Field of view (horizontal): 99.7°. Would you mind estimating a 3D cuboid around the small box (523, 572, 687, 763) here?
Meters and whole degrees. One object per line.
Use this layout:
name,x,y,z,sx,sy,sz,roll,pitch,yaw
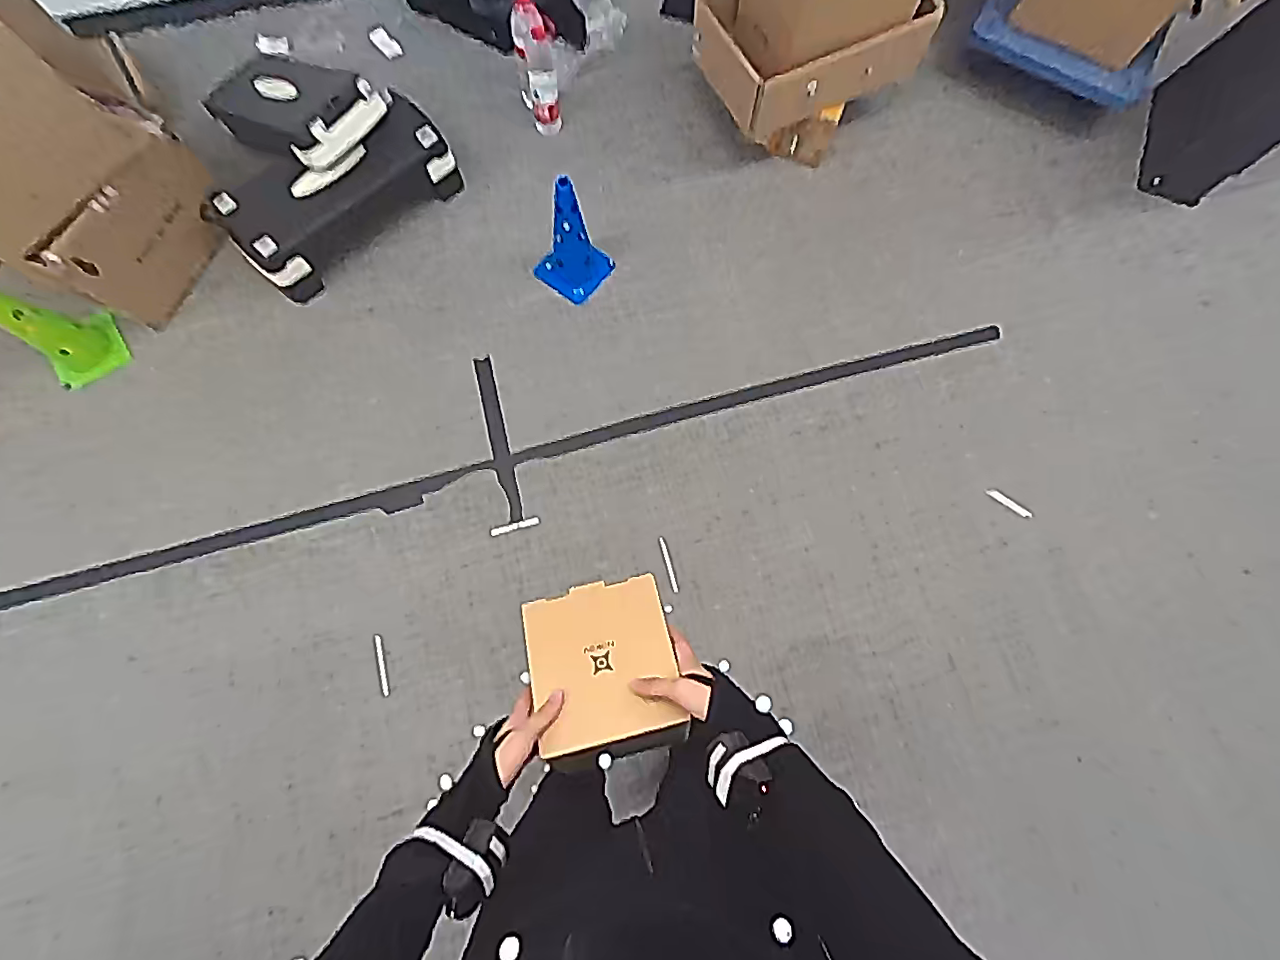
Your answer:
small box,-0.040,0.242,0.676,0.168,0.176,0.179,-12,57,-5
